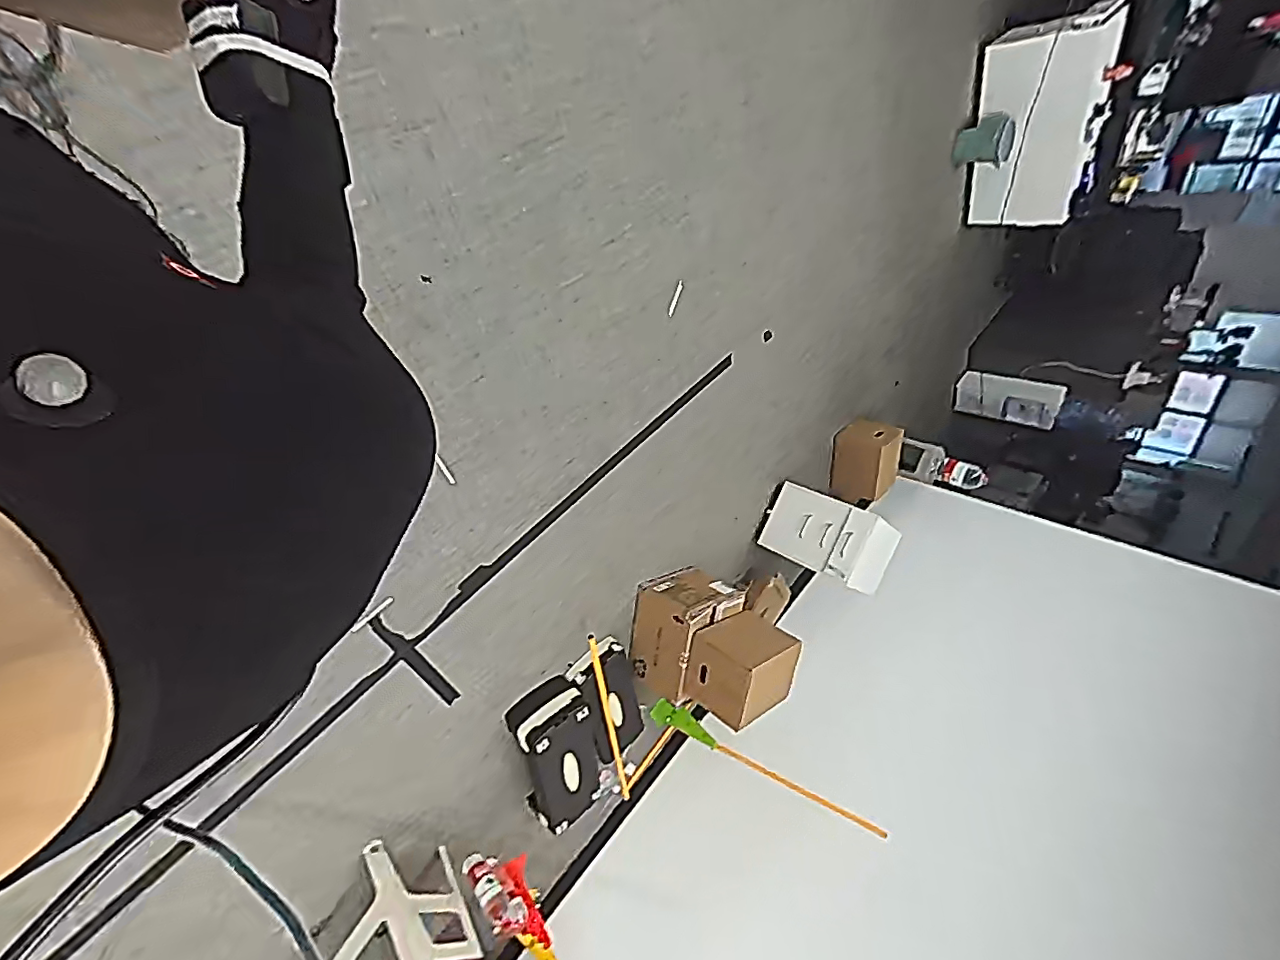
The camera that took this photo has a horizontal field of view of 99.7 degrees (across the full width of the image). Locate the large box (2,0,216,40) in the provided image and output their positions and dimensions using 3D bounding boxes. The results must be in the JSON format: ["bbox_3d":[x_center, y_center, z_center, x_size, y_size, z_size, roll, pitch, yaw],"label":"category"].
[{"bbox_3d":[-0.512,-0.502,0.281,0.408,0.320,0.320,-16,124,-45],"label":"large box"}]
